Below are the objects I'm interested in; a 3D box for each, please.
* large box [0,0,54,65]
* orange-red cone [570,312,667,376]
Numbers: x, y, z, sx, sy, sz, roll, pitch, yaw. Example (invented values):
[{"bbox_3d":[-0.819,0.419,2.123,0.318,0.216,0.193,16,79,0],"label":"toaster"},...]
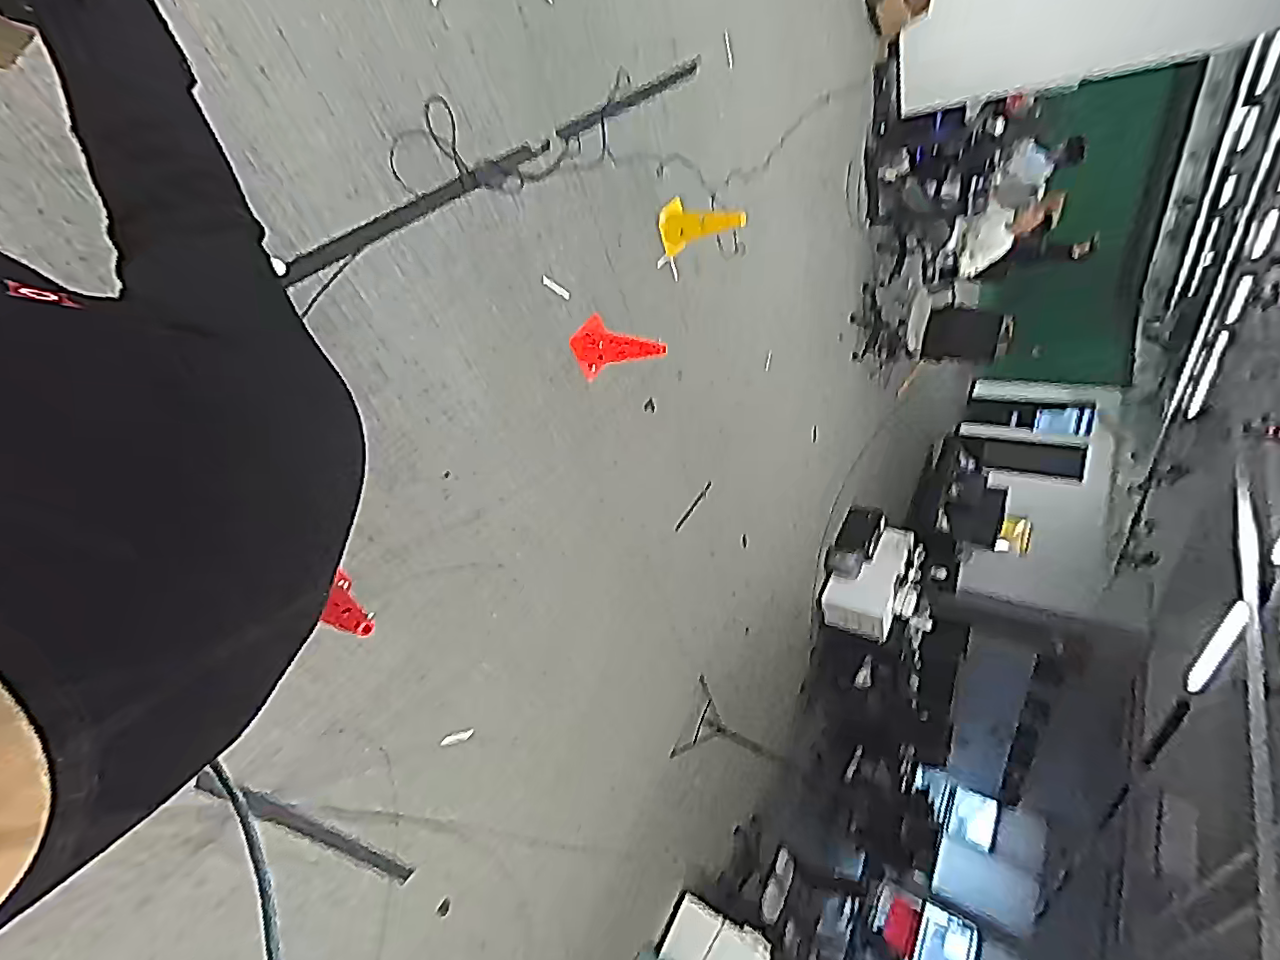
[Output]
[{"bbox_3d":[-0.616,-0.418,0.231,0.408,0.320,0.320,-28,130,-44],"label":"large box"},{"bbox_3d":[-0.055,-0.512,2.050,0.199,0.360,0.198,-55,139,-31],"label":"orange-red cone"}]
